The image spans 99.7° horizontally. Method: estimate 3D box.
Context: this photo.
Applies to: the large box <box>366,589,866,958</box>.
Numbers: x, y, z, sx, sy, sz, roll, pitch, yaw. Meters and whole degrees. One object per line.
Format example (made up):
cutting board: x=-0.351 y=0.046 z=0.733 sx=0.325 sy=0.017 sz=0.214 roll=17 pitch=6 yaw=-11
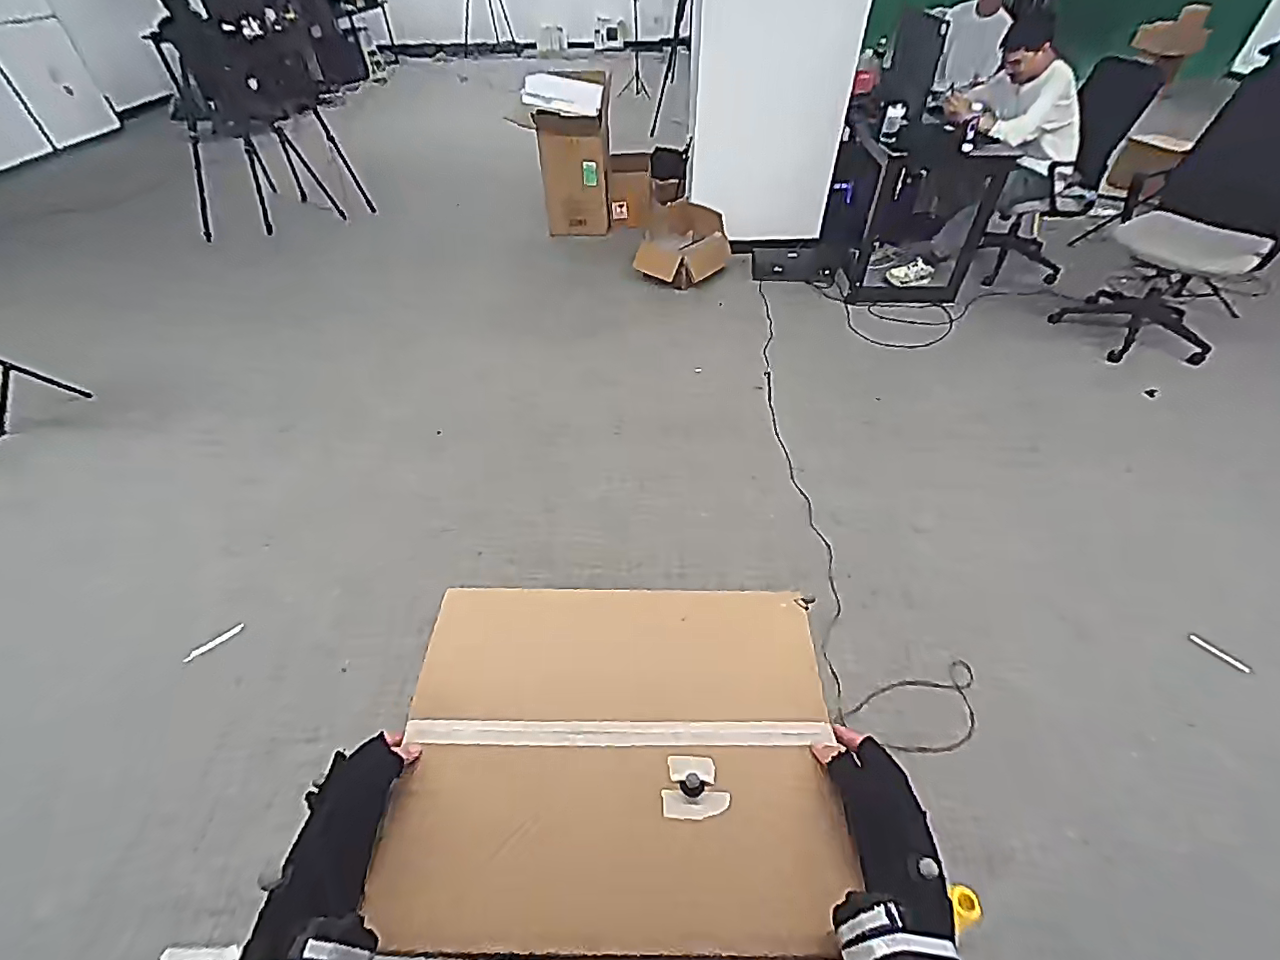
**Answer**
large box: x=-0.021 y=0.343 z=0.630 sx=0.408 sy=0.320 sz=0.320 roll=1 pitch=47 yaw=0
